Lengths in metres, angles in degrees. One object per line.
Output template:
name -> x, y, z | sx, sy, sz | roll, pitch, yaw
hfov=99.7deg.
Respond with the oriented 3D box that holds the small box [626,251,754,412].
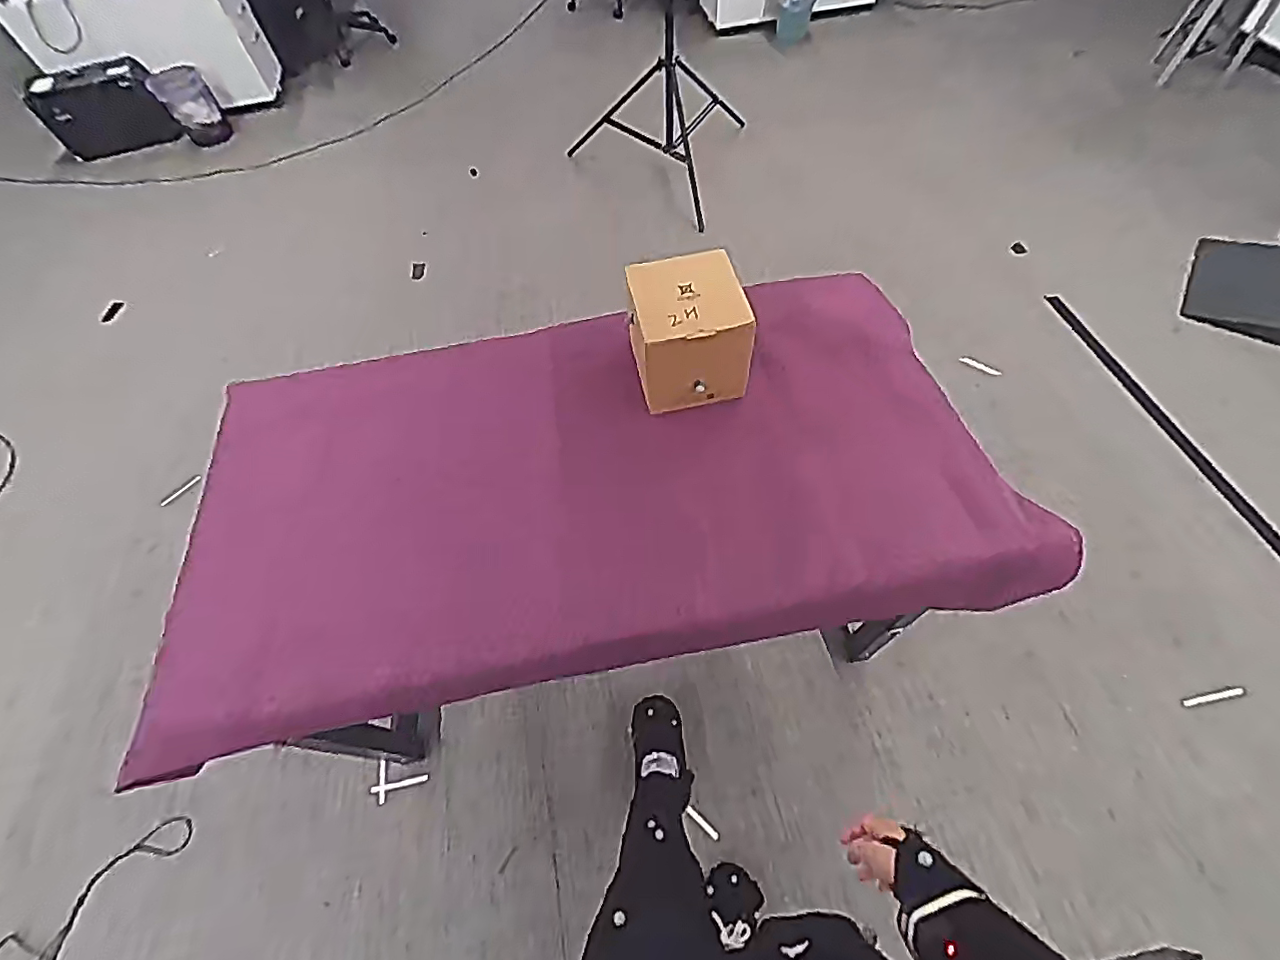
small box -> 0.075, -0.239, 0.886 | 0.168, 0.176, 0.179 | -11, 60, -2
